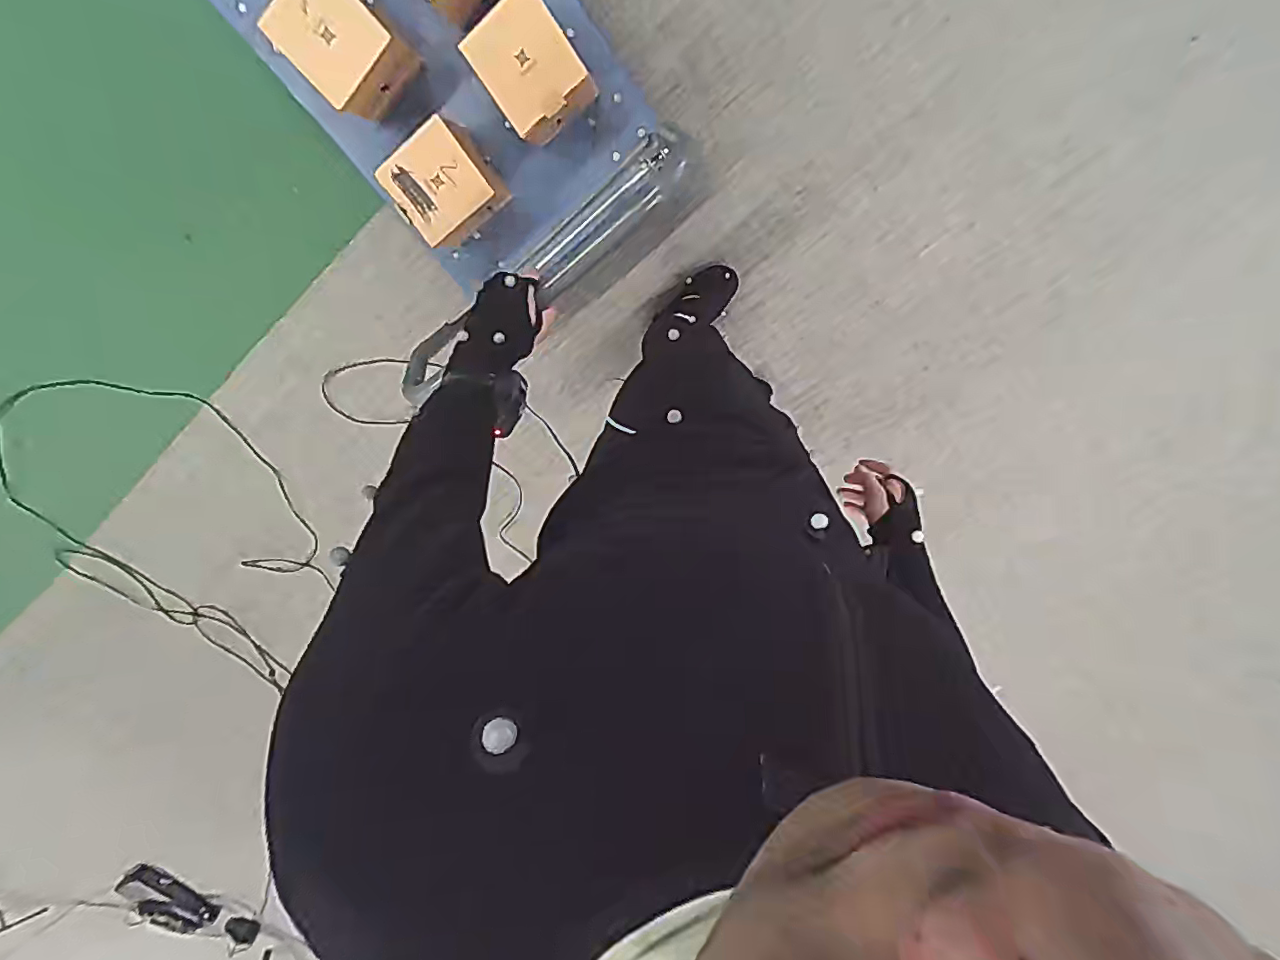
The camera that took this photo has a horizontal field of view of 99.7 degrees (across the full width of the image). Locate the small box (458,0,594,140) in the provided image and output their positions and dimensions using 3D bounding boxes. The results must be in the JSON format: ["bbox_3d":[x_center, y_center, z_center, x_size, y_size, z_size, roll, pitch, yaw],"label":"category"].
[{"bbox_3d":[-0.206,-0.786,1.030,0.168,0.176,0.179,-33,112,16],"label":"small box"}]

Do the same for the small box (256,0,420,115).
[{"bbox_3d":[-0.553,-0.827,1.018,0.168,0.176,0.179,-38,110,18],"label":"small box"}]

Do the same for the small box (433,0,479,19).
[{"bbox_3d":[-0.353,-0.967,0.943,0.168,0.176,0.179,-36,112,18],"label":"small box"}]
